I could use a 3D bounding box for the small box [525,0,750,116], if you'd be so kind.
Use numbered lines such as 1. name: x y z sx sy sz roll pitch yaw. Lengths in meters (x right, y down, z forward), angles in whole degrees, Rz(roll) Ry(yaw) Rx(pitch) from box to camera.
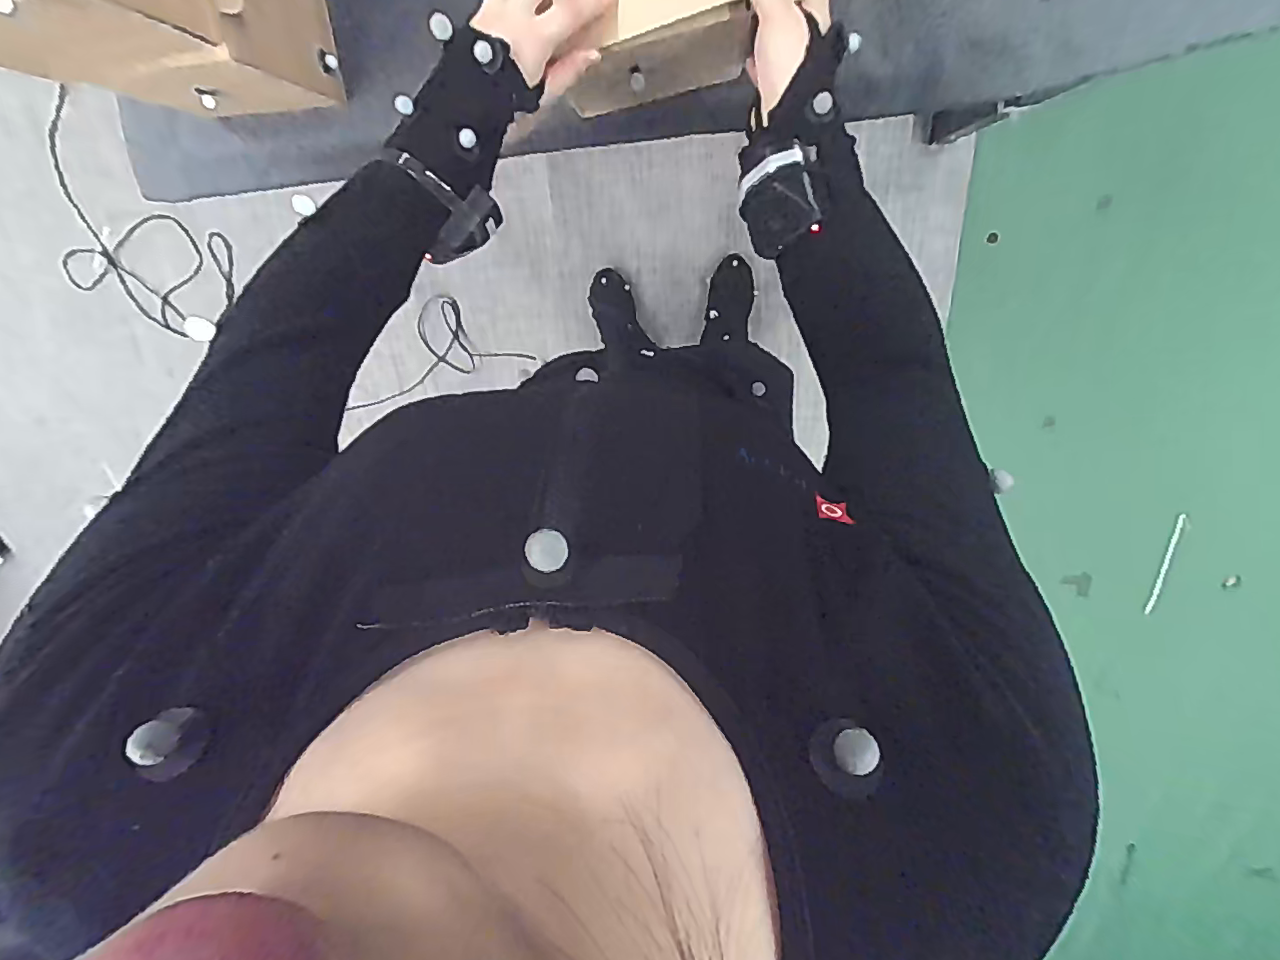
1. small box: -0.002 -0.449 0.478 0.179 0.176 0.168 -8 112 11

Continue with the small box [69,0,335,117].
1. small box: -0.429 -0.468 0.521 0.179 0.176 0.168 0 113 8

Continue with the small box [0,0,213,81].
1. small box: -0.463 -0.407 0.374 0.179 0.176 0.168 -4 112 9
